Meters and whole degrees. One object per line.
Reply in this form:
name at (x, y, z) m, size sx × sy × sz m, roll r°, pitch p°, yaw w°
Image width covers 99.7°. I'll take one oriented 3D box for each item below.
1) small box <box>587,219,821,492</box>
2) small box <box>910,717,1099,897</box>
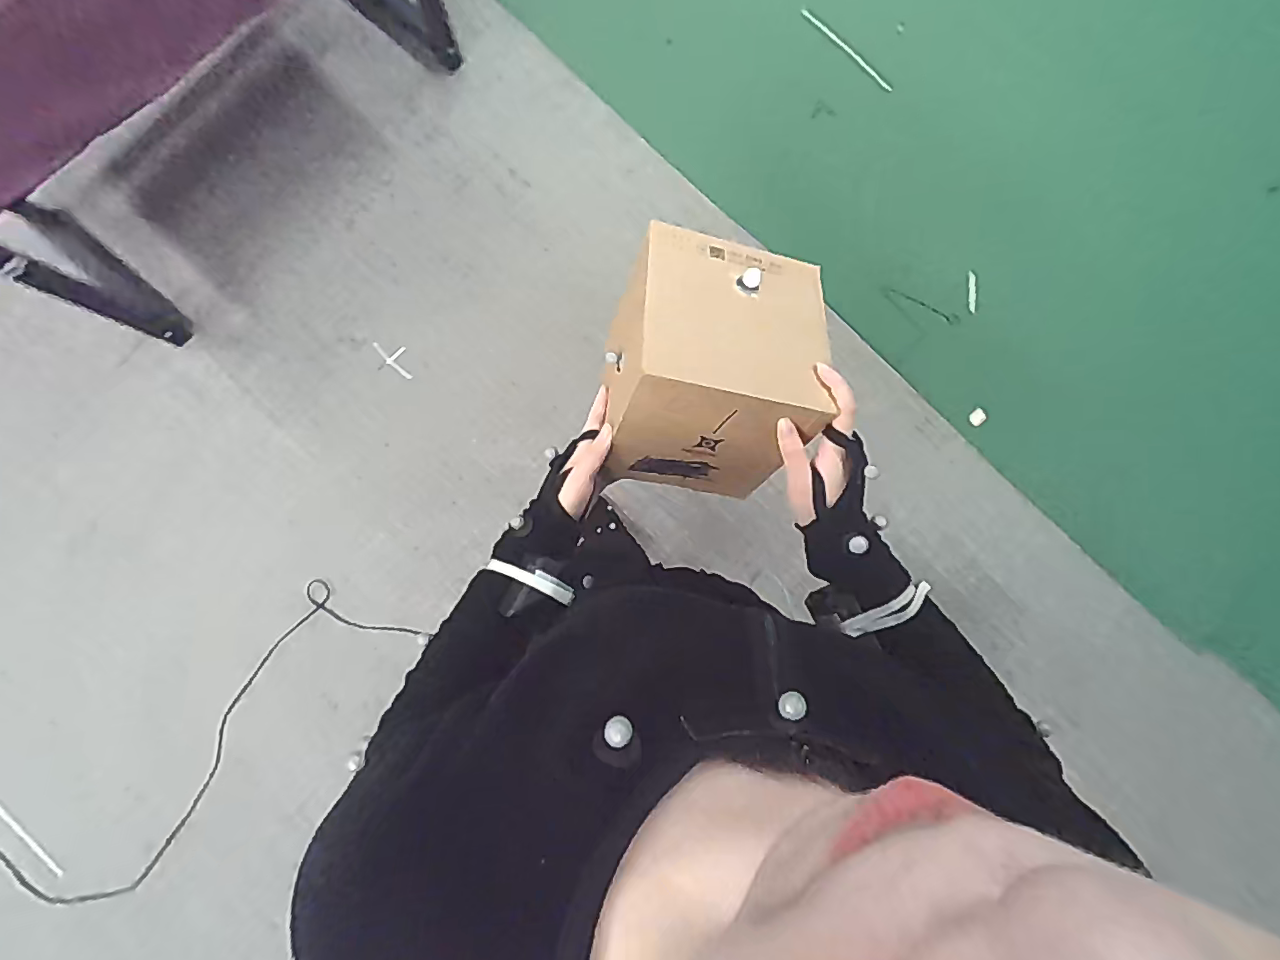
small box at (0.050, -0.108, 0.521) m, size 0.168 × 0.179 × 0.176 m, roll 8°, pitch 62°, yaw -13°
small box at (0.616, 0.549, 0.939) m, size 0.179 × 0.176 × 0.168 m, roll -35°, pitch 87°, yaw -3°
